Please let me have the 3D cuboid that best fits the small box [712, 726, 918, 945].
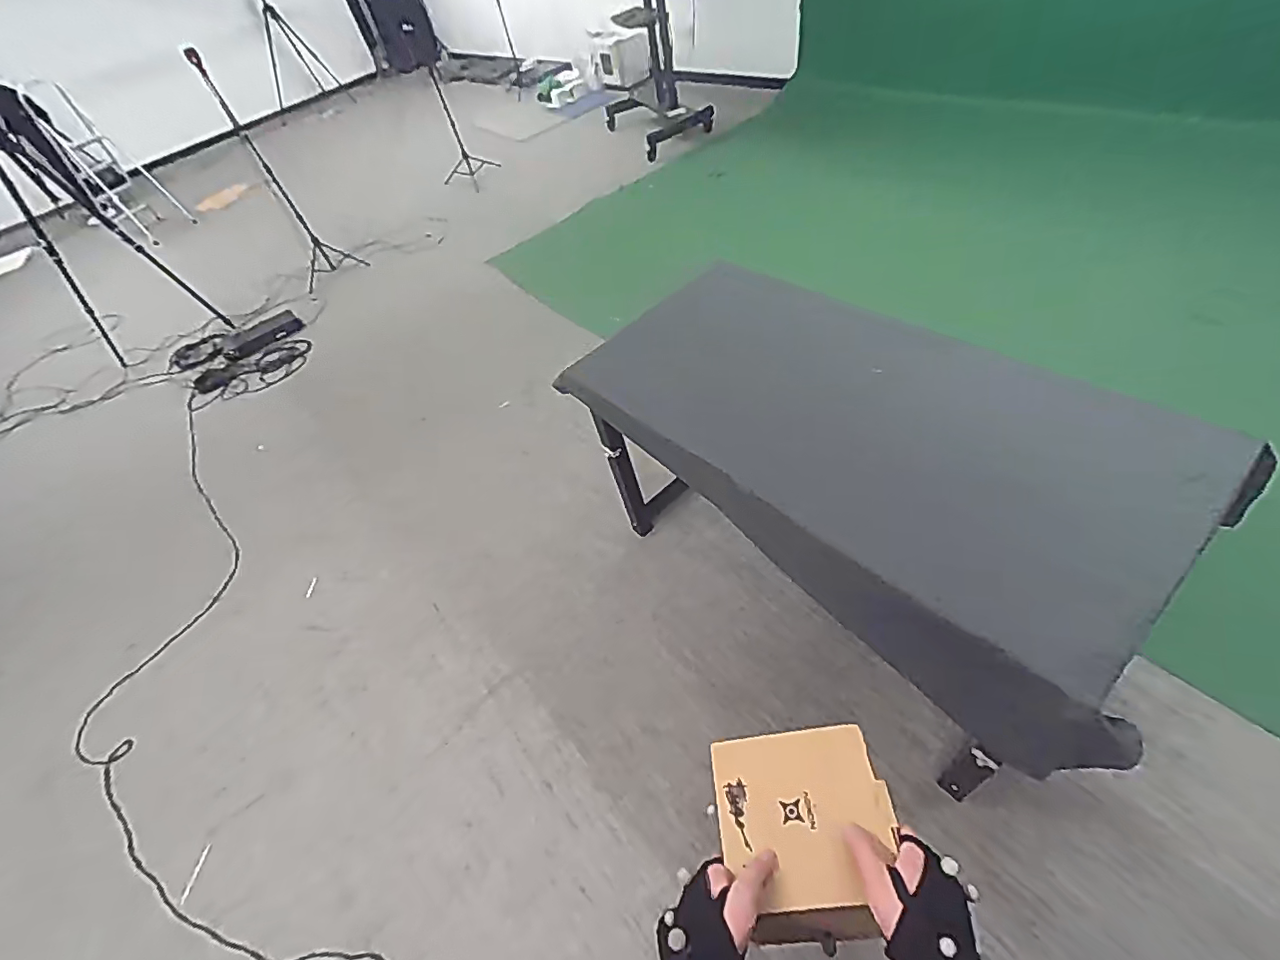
[{"bbox_3d":[0.186,0.404,0.615,0.179,0.176,0.168,-11,40,7],"label":"small box"}]
